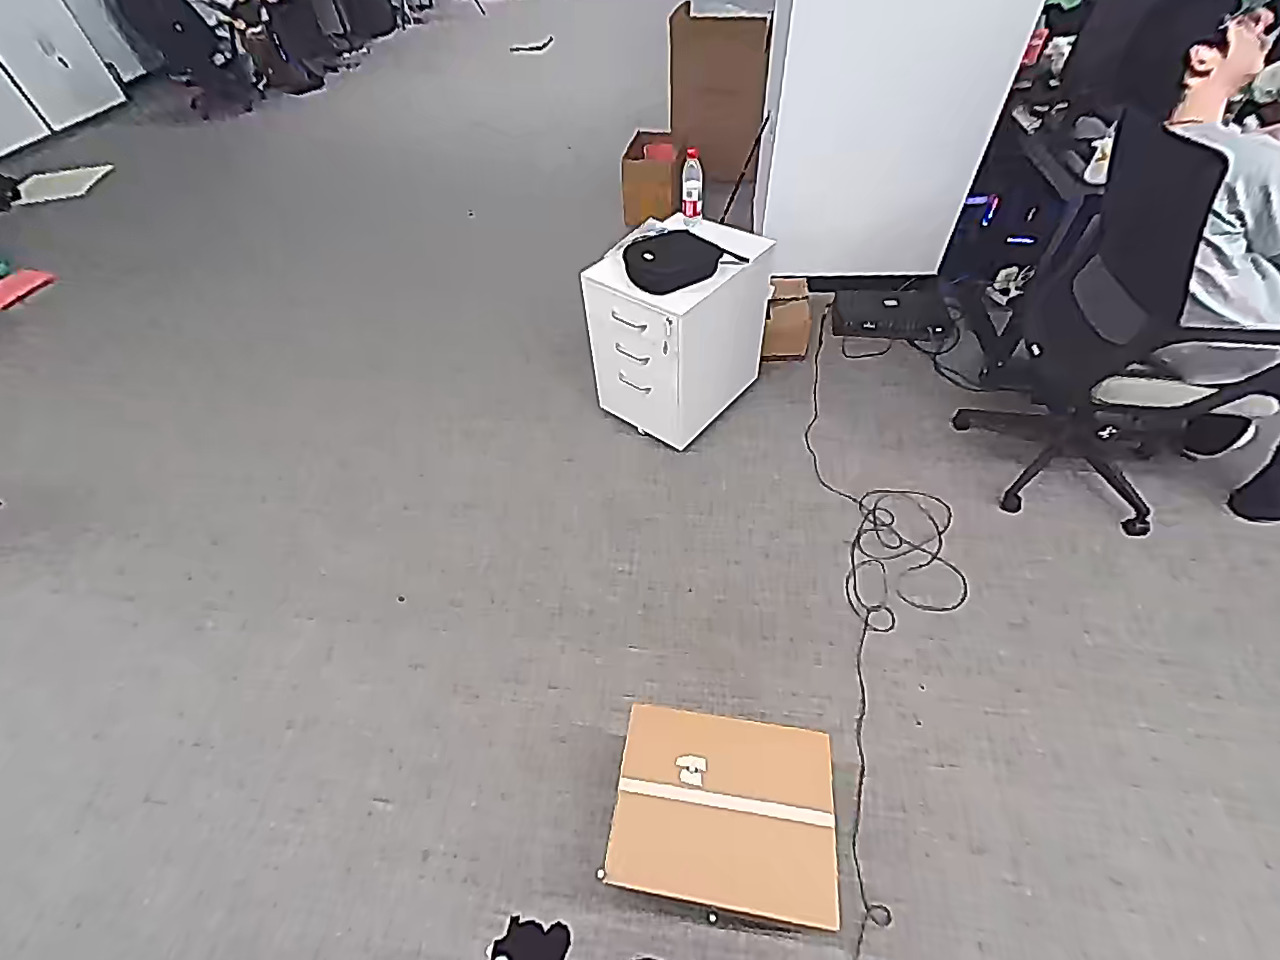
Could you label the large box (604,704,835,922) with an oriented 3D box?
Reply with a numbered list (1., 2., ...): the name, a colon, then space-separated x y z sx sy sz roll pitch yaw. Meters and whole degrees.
1. large box: 0.166 0.700 1.139 0.408 0.320 0.320 5 50 9
